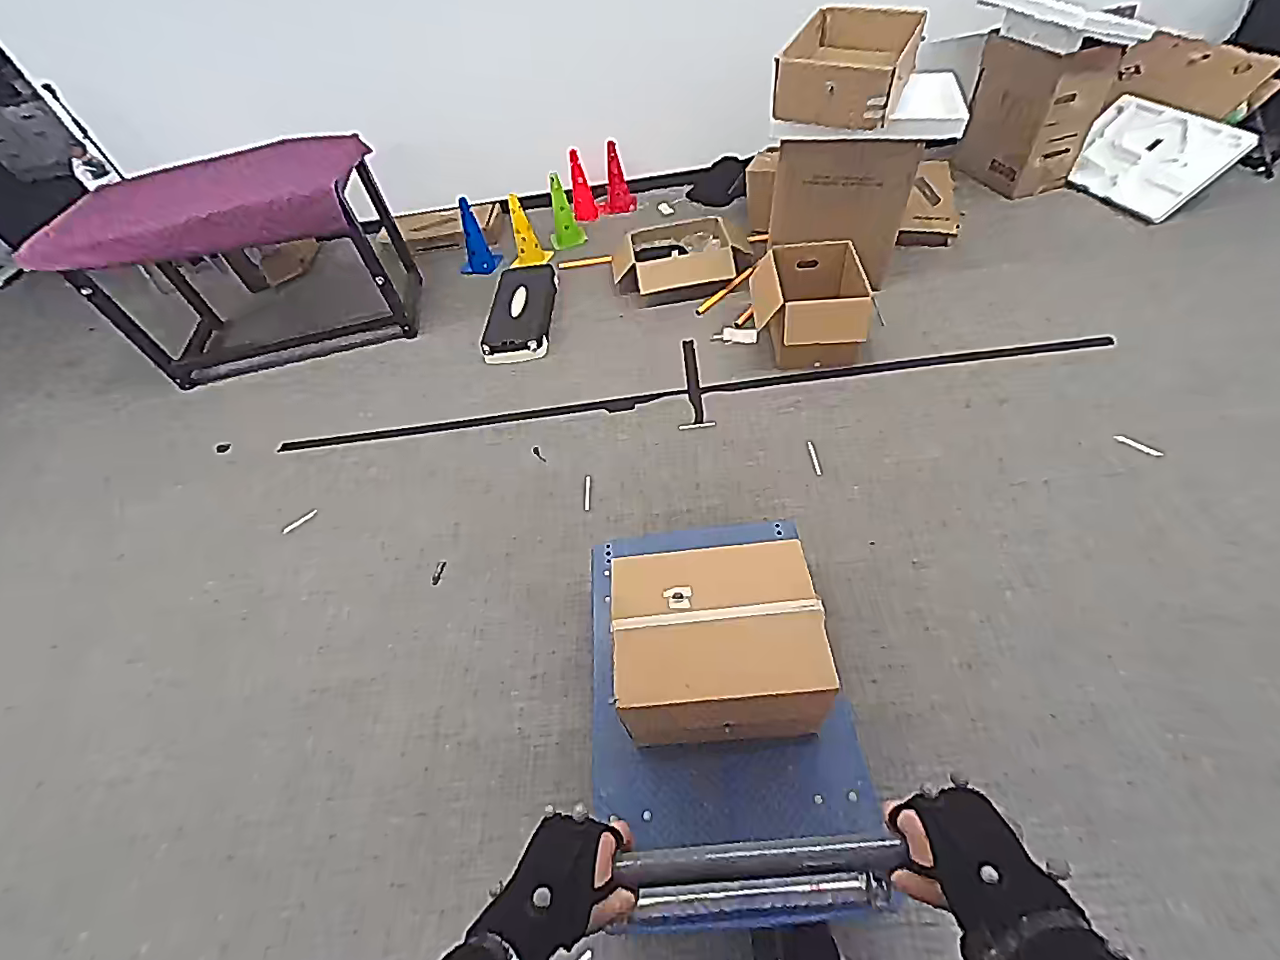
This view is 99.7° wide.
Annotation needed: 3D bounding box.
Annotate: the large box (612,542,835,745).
[{"bbox_3d":[0.168,0.370,1.192,0.408,0.320,0.320,-8,50,4],"label":"large box"}]
